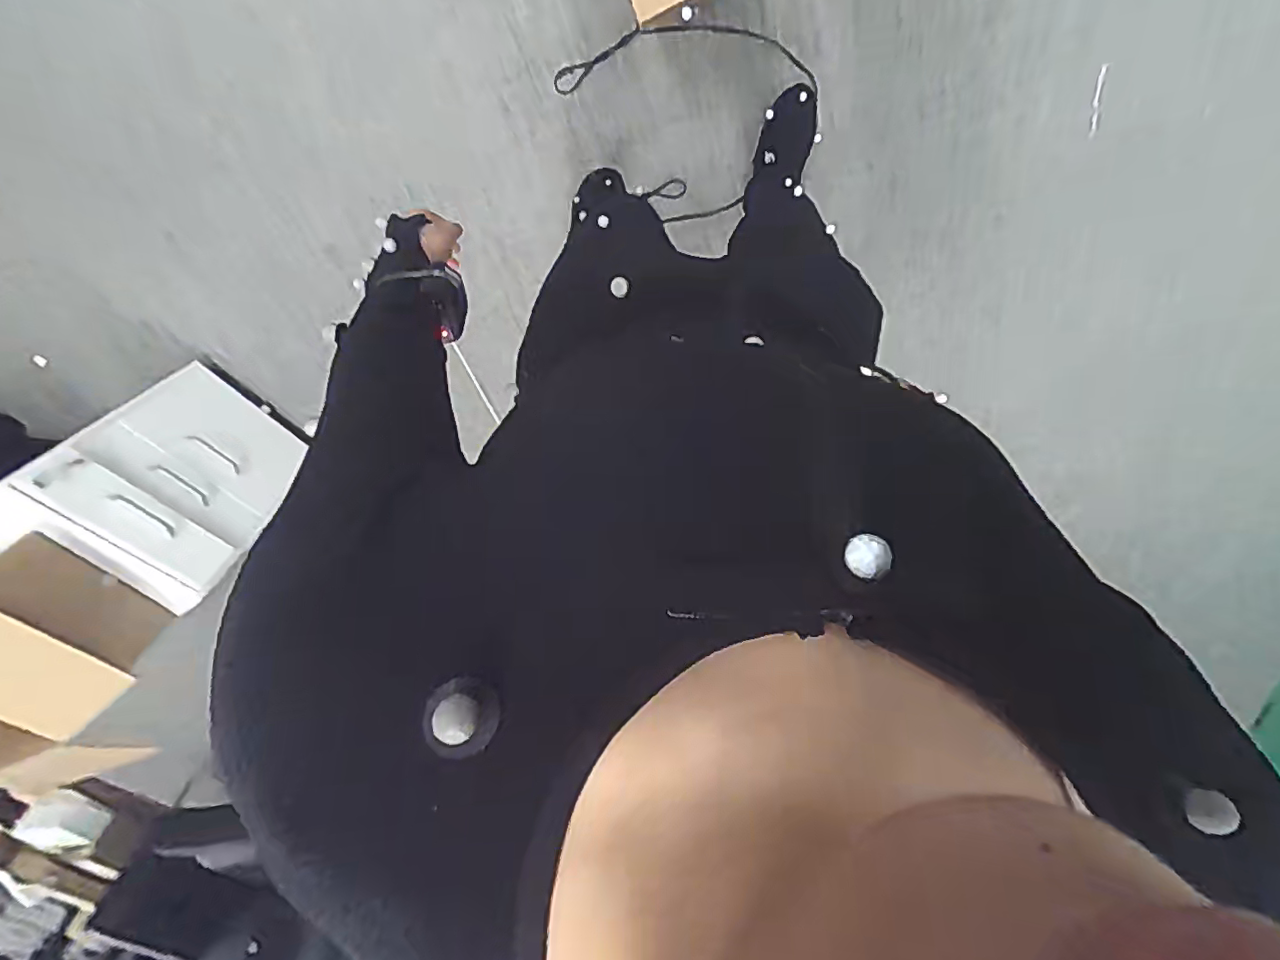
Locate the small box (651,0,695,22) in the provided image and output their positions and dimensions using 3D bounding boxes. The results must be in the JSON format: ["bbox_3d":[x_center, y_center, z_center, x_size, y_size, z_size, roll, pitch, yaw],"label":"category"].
[{"bbox_3d":[0.060,-0.912,0.906,0.168,0.176,0.179,-20,123,17],"label":"small box"}]

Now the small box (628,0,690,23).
[{"bbox_3d":[0.038,-0.805,0.782,0.168,0.176,0.179,-16,126,16],"label":"small box"}]
